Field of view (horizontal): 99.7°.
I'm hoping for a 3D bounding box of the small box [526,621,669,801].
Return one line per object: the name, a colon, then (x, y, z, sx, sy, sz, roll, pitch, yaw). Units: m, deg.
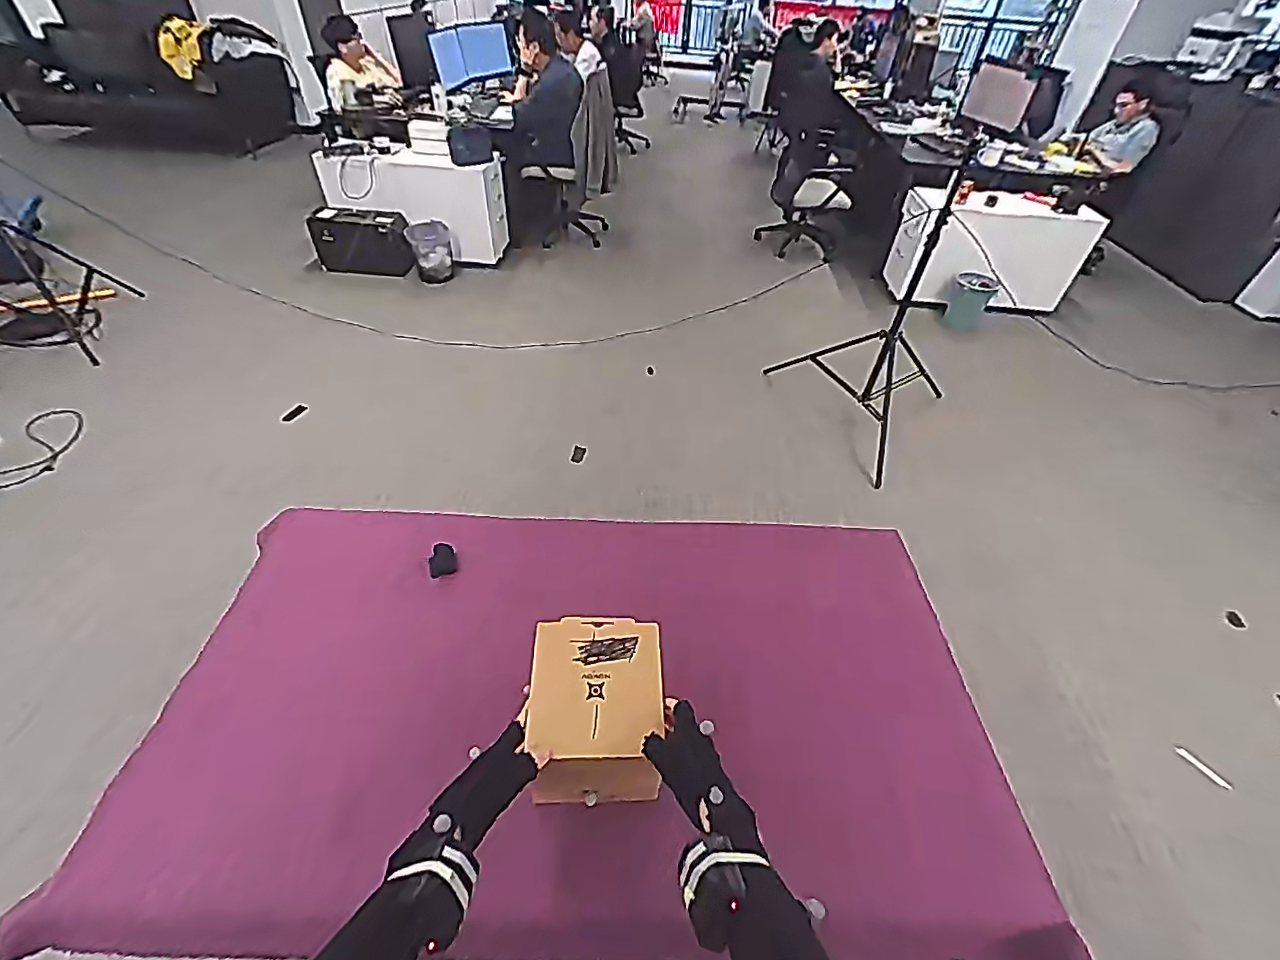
small box: (-0.055, 0.309, 0.726, 0.168, 0.176, 0.179, 1, 45, -3)
